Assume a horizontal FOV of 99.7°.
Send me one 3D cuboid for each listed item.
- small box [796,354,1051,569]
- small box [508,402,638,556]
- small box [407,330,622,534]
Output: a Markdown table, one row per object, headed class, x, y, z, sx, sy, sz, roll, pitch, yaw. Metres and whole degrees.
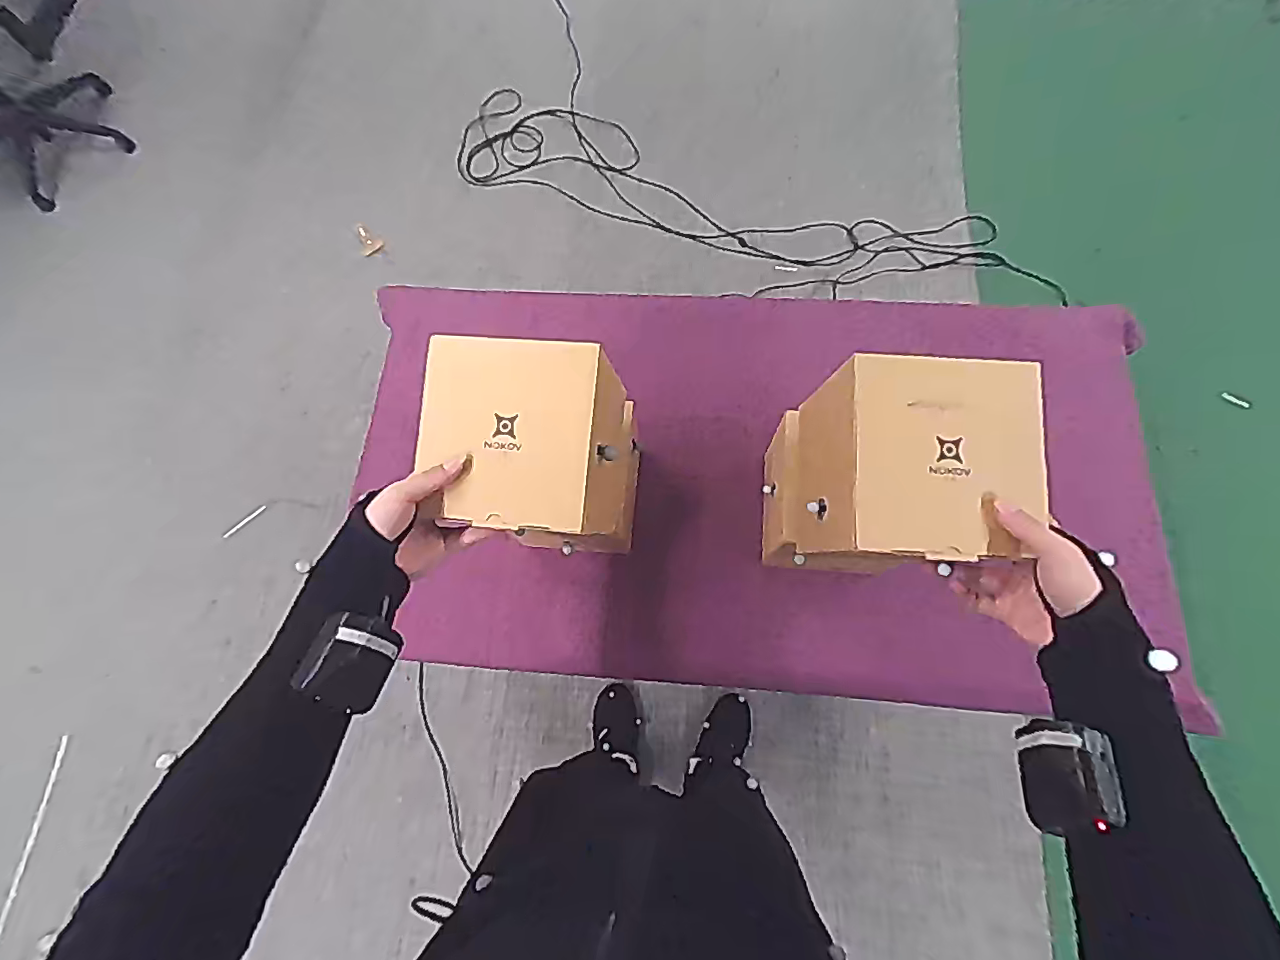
| class | x | y | z | sx | sy | sz | roll | pitch | yaw |
| --- | --- | --- | --- | --- | --- | --- | --- | --- | --- |
| small box | 0.261 | -0.006 | 0.534 | 0.168 | 0.176 | 0.179 | 4 | 80 | 0 |
| small box | -0.094 | -0.001 | 0.754 | 0.168 | 0.176 | 0.179 | 5 | 73 | 5 |
| small box | -0.114 | -0.039 | 0.567 | 0.168 | 0.176 | 0.179 | 5 | 86 | 6 |
